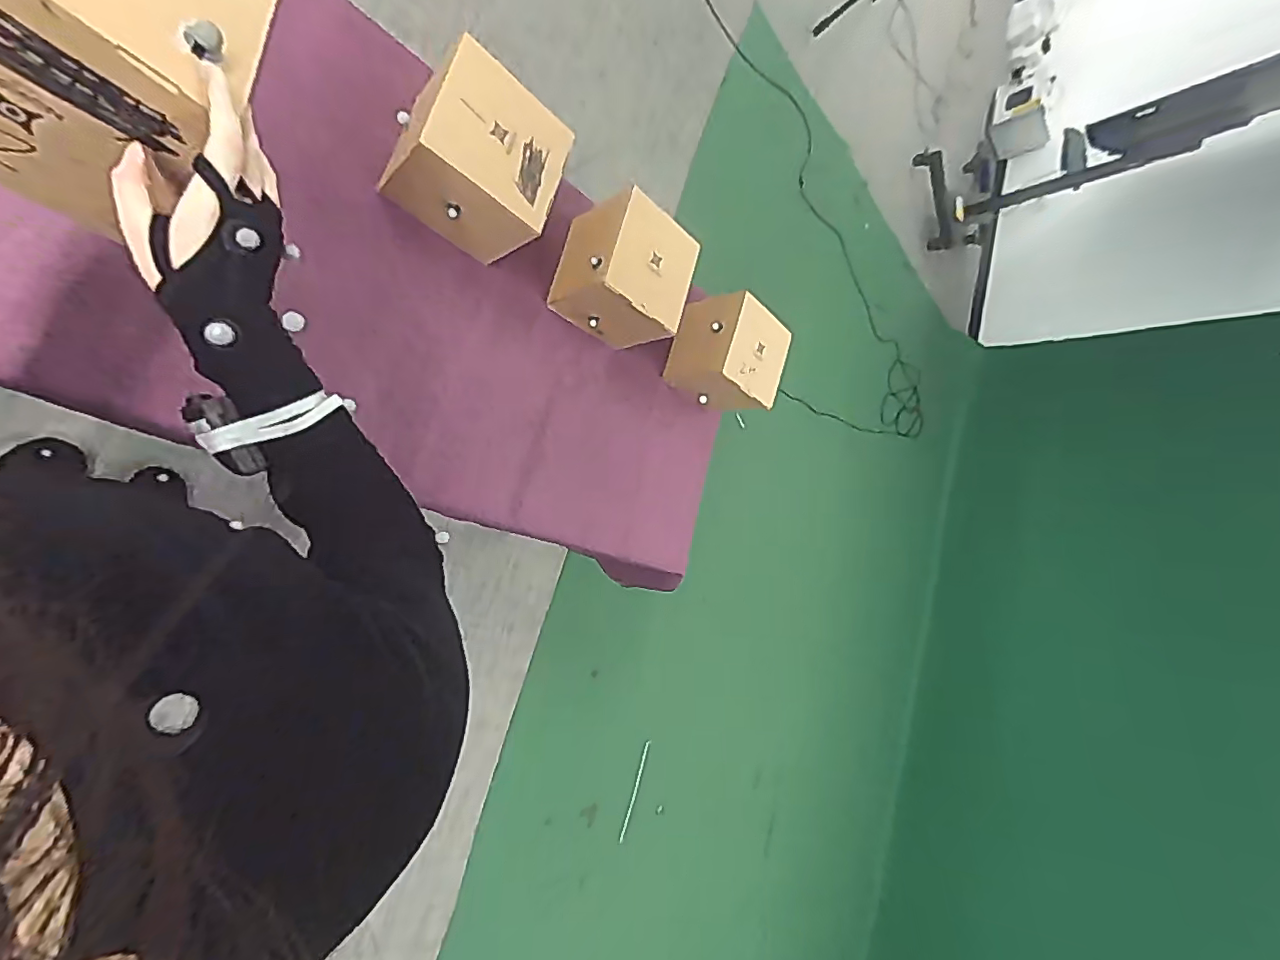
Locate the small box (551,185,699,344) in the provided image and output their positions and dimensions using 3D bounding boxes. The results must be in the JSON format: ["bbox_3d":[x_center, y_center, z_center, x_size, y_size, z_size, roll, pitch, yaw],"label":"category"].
[{"bbox_3d":[-0.029,-0.355,0.929,0.168,0.176,0.179,23,78,-39],"label":"small box"}]

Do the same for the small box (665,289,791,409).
[{"bbox_3d":[0.177,-0.257,1.107,0.168,0.176,0.179,26,78,-38],"label":"small box"}]

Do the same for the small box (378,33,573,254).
[{"bbox_3d":[-0.228,-0.440,0.748,0.179,0.176,0.168,25,76,-38],"label":"small box"}]
